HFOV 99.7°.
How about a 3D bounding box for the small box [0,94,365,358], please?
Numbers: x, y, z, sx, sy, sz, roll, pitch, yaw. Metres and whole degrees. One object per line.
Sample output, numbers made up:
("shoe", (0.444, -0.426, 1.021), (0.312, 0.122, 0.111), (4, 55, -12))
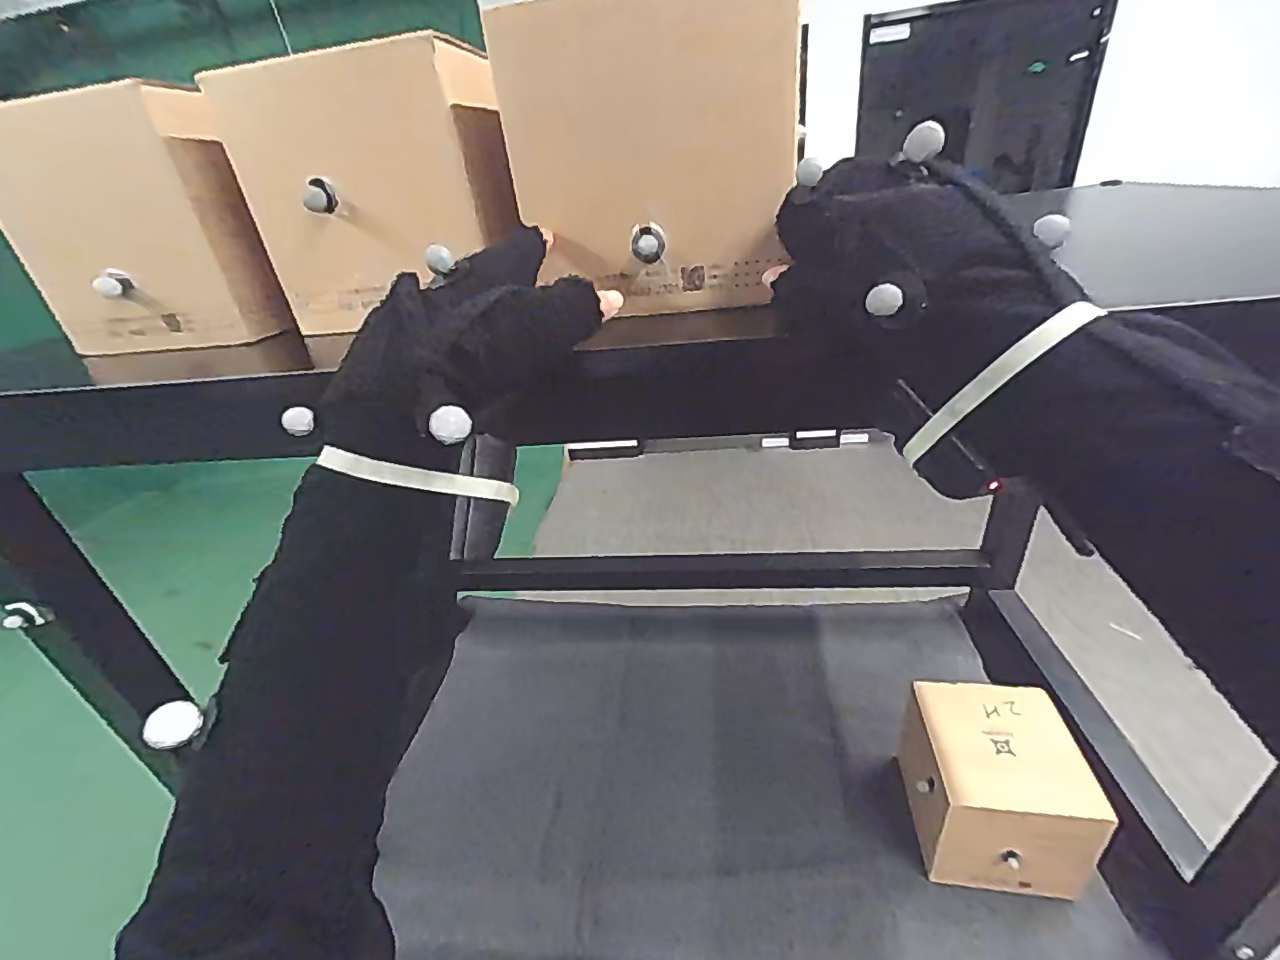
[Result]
("small box", (-0.369, -0.211, 0.464), (0.168, 0.176, 0.179), (-1, 30, 10))

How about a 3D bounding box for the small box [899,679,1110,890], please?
("small box", (0.449, 0.390, 0.702), (0.168, 0.176, 0.179), (0, 29, 12))
